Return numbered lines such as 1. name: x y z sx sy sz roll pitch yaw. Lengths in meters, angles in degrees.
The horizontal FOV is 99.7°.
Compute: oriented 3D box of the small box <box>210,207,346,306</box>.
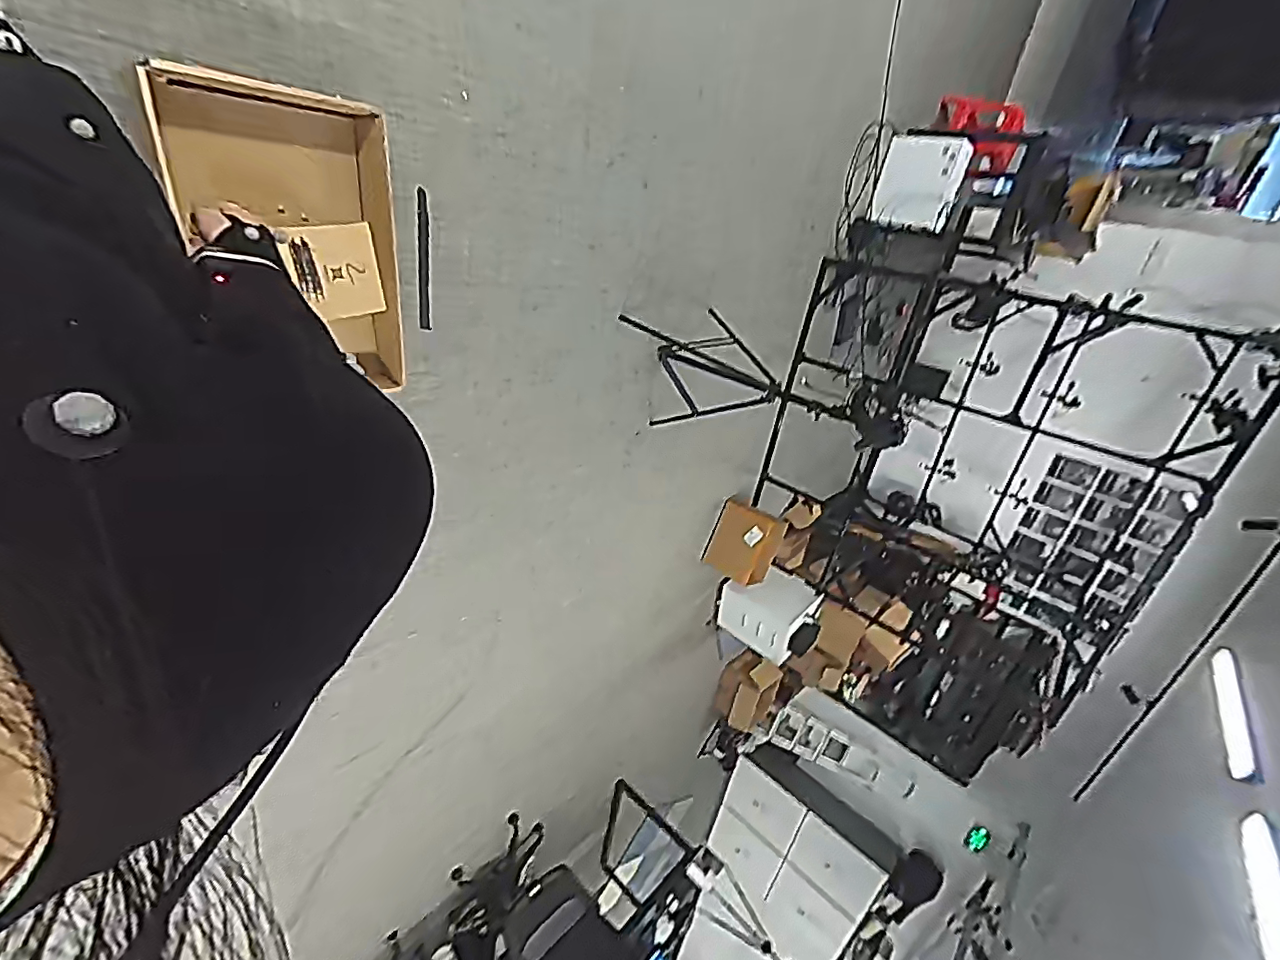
1. small box: -0.762 -0.479 1.143 0.179 0.176 0.168 -27 132 -40
